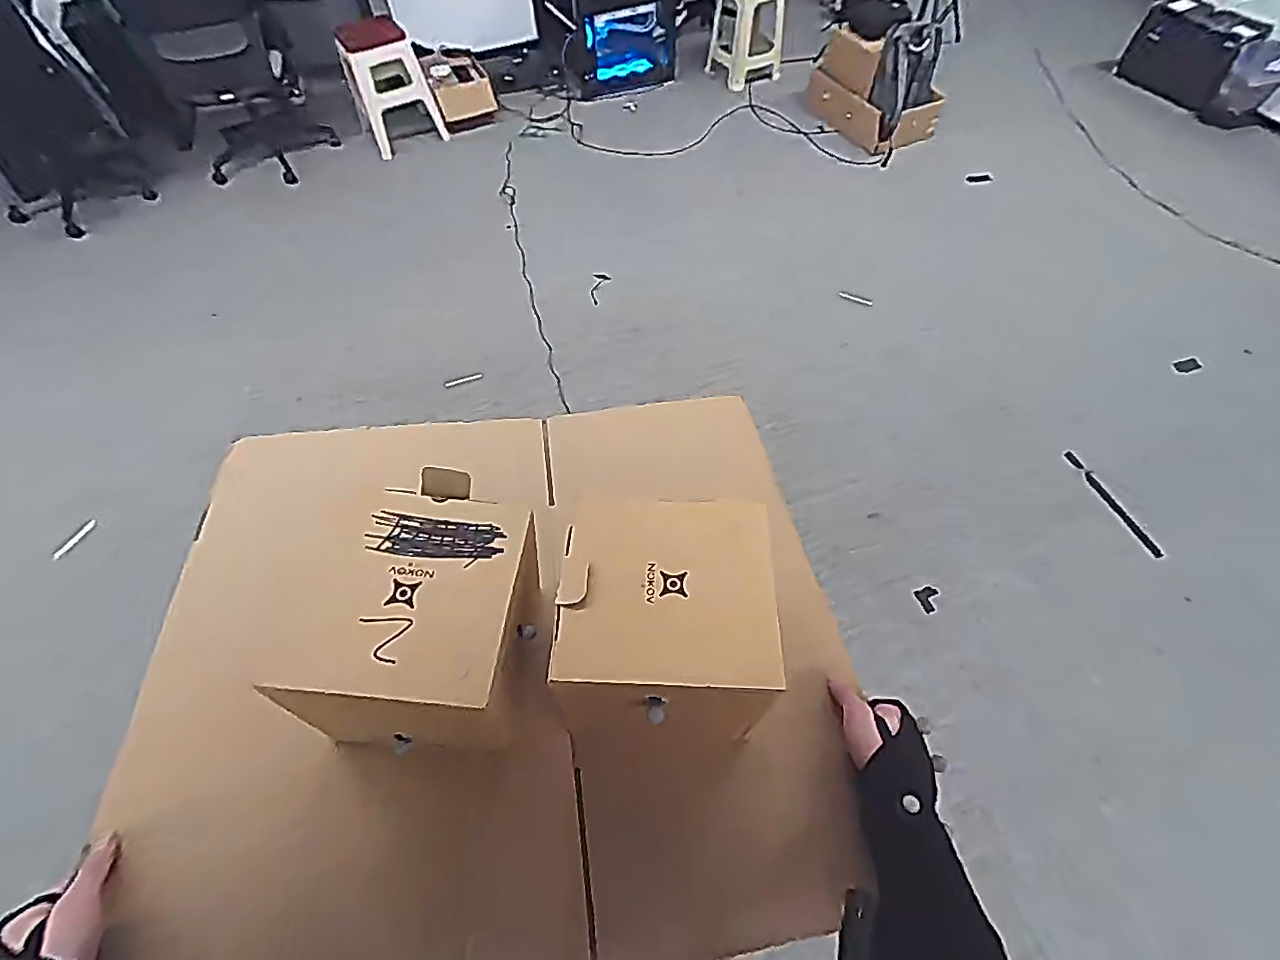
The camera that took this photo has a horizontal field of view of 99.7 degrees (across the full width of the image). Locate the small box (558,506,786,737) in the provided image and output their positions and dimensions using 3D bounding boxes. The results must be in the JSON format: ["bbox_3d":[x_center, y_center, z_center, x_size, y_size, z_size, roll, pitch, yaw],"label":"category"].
[{"bbox_3d":[0.028,0.140,0.518,0.179,0.176,0.168,1,53,2],"label":"small box"}]
